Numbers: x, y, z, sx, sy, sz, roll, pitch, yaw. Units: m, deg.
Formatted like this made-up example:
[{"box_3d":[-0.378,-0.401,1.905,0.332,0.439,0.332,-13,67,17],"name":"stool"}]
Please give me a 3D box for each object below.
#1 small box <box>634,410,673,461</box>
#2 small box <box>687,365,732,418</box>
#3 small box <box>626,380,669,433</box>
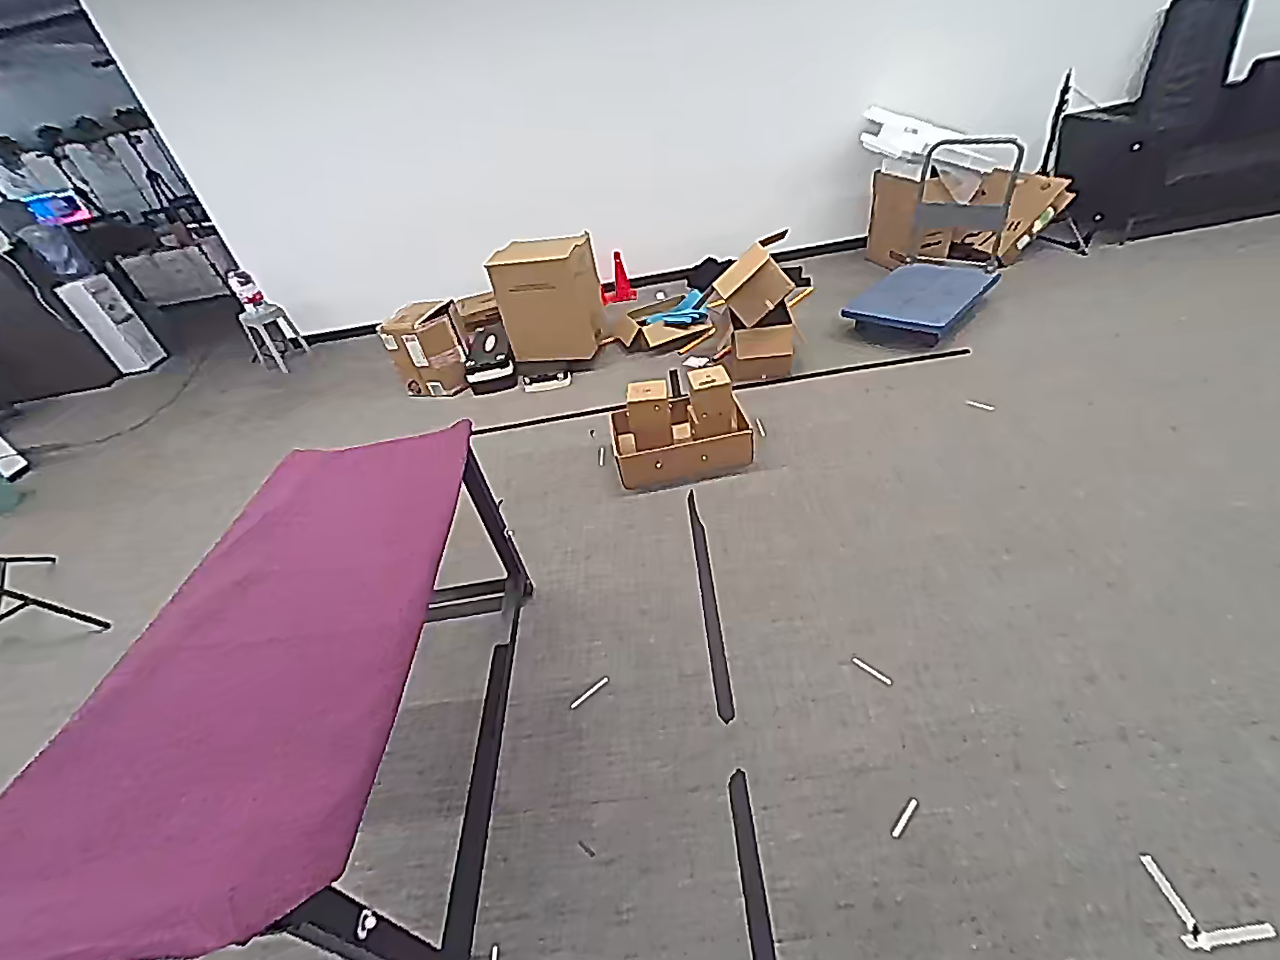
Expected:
[{"box_3d":[0.066,-0.209,2.533,0.168,0.176,0.179,-4,38,8],"name":"small box"},{"box_3d":[0.312,-0.389,2.422,0.168,0.176,0.179,-12,37,1],"name":"small box"},{"box_3d":[0.039,-0.326,2.418,0.179,0.176,0.168,-5,38,6],"name":"small box"}]
